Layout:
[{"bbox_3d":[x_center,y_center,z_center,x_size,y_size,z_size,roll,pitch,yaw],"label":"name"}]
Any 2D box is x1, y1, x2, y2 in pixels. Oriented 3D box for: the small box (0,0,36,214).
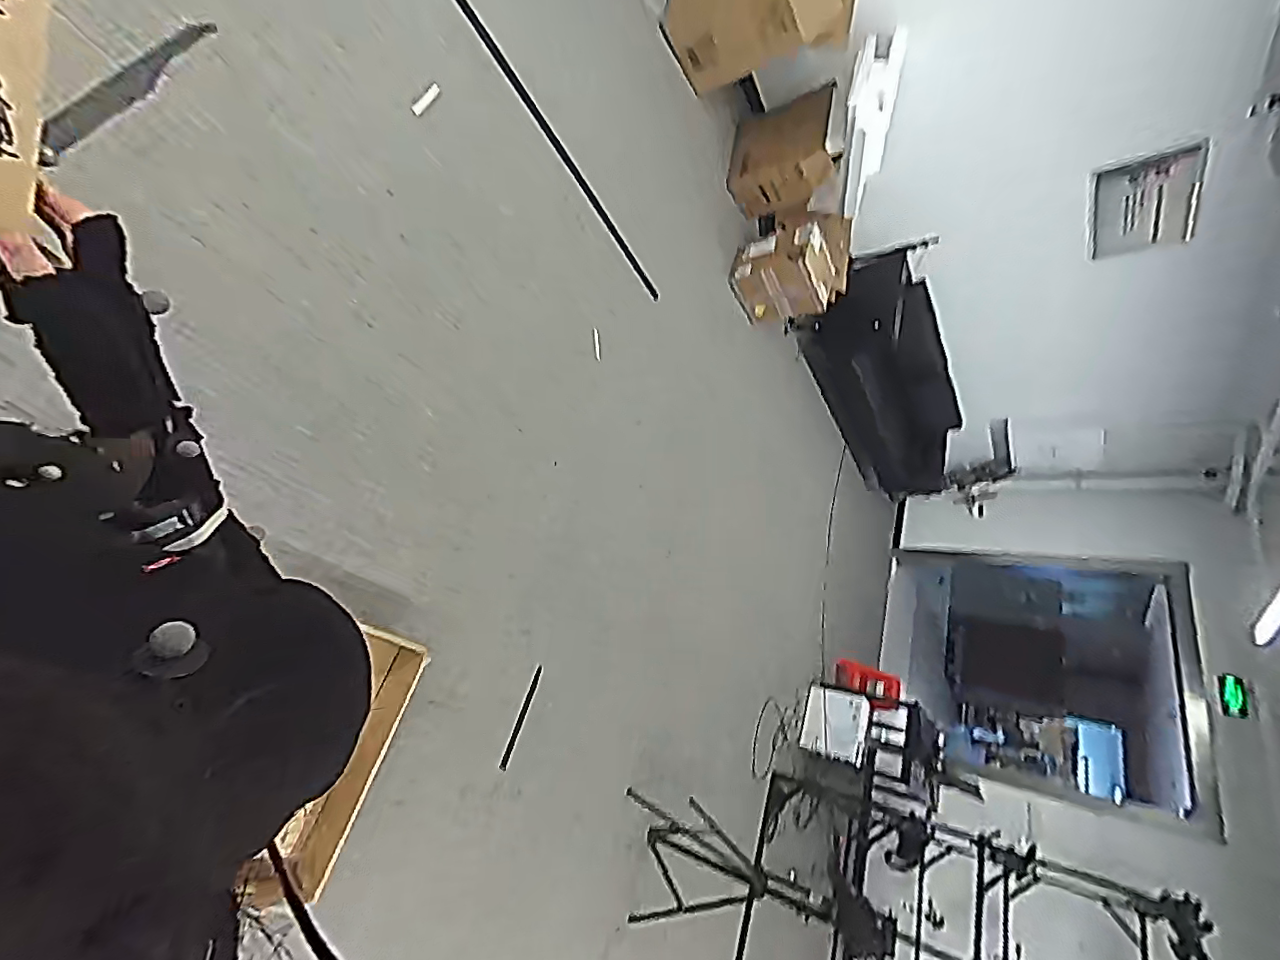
[{"bbox_3d":[-0.459,-0.236,0.265,0.179,0.176,0.168,6,87,-66],"label":"small box"}]
